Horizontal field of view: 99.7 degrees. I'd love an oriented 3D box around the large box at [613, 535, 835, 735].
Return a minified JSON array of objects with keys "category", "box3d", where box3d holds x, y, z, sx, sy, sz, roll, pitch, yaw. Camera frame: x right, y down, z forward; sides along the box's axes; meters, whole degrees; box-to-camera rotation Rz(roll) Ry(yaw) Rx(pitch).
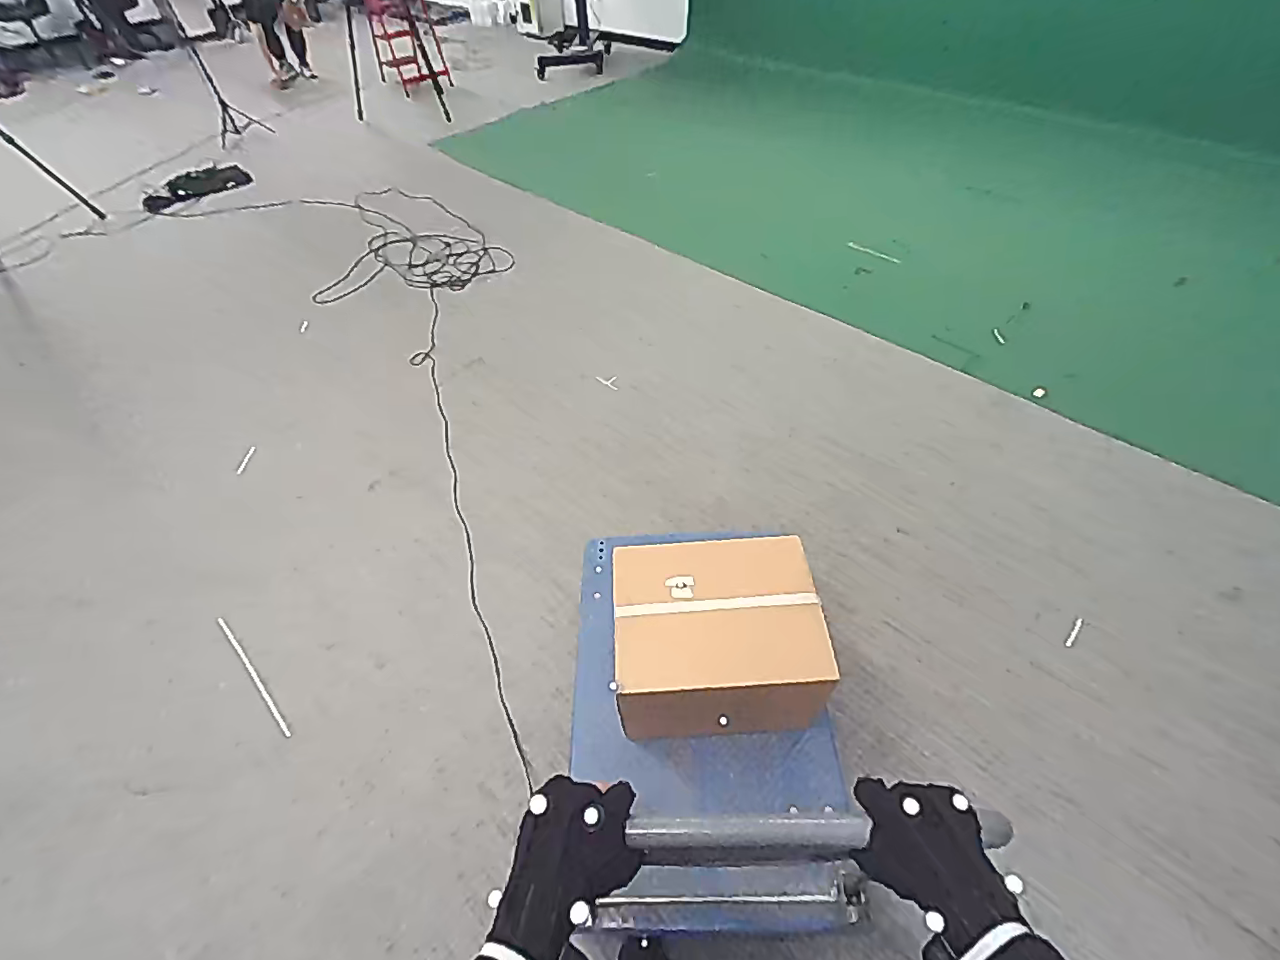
[{"category":"large box","box3d":[0.161,0.350,1.194,0.408,0.320,0.320,-5,50,0]}]
